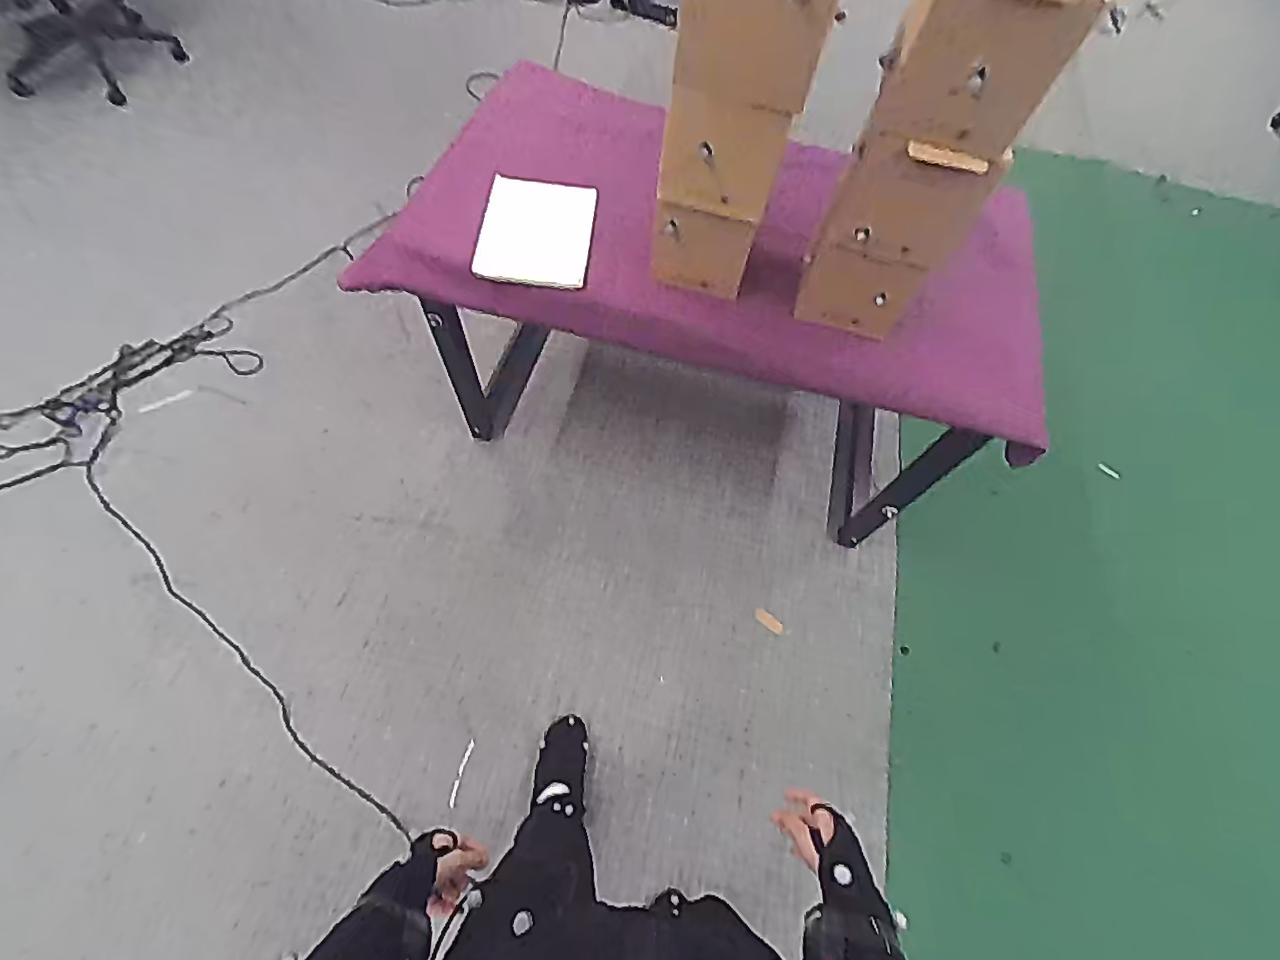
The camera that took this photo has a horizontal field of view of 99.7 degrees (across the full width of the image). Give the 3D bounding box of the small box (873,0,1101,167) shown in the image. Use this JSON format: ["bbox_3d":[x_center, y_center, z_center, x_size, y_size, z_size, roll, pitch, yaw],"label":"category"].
[{"bbox_3d":[0.404,-0.521,0.659,0.168,0.176,0.179,17,63,2],"label":"small box"}]

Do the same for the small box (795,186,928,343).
[{"bbox_3d":[0.384,-0.370,0.949,0.168,0.176,0.179,16,61,3],"label":"small box"}]

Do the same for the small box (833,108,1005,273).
[{"bbox_3d":[0.402,-0.441,0.803,0.168,0.176,0.179,15,61,2],"label":"small box"}]

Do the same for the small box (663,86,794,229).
[{"bbox_3d":[0.135,-0.514,0.816,0.168,0.176,0.179,16,61,4],"label":"small box"}]

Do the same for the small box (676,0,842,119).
[{"bbox_3d":[0.155,-0.585,0.667,0.179,0.176,0.168,17,61,5],"label":"small box"}]
